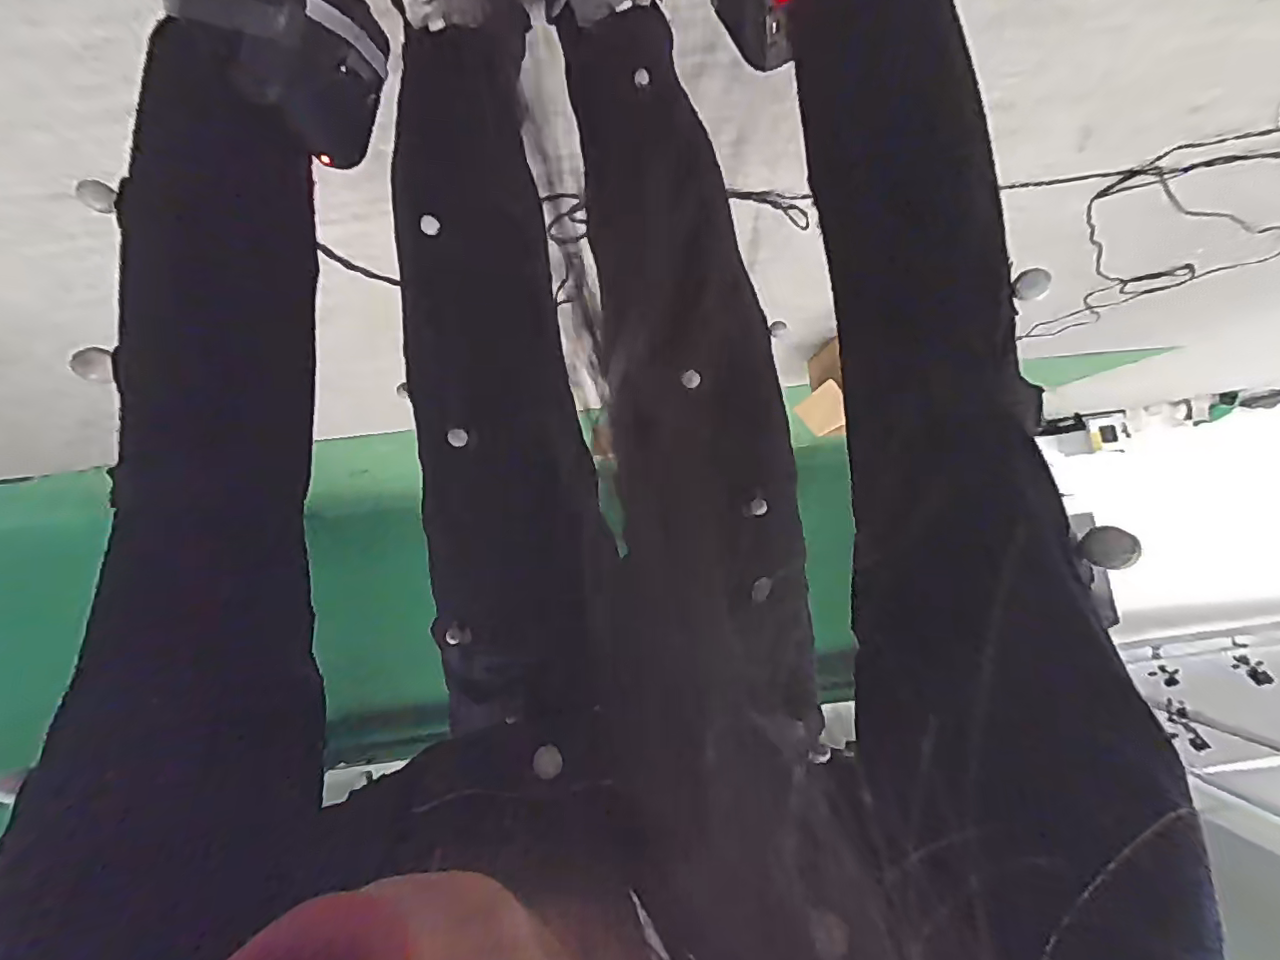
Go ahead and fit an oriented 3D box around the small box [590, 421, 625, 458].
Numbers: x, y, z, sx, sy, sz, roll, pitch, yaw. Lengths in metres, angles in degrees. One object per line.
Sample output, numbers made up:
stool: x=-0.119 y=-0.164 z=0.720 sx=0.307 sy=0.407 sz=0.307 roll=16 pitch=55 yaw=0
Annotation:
small box: x=-0.181 y=-0.224 z=3.002 sx=0.179 sy=0.176 sz=0.168 roll=-8 pitch=175 yaw=0
